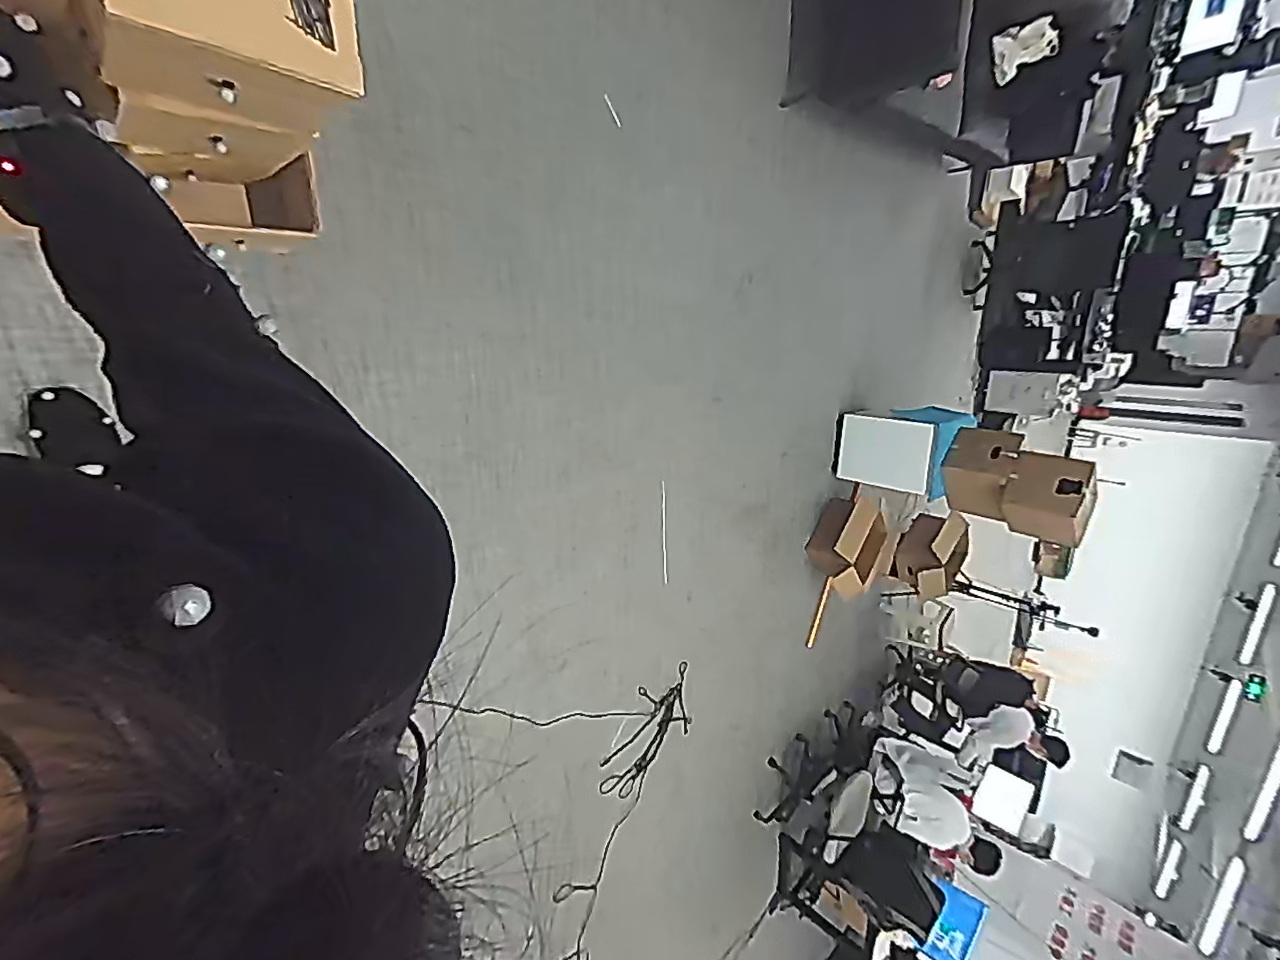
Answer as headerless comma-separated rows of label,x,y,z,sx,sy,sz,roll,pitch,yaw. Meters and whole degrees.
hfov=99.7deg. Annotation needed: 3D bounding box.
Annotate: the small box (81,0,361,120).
small box,-0.368,-0.442,0.471,0.179,0.176,0.168,-11,110,-43
